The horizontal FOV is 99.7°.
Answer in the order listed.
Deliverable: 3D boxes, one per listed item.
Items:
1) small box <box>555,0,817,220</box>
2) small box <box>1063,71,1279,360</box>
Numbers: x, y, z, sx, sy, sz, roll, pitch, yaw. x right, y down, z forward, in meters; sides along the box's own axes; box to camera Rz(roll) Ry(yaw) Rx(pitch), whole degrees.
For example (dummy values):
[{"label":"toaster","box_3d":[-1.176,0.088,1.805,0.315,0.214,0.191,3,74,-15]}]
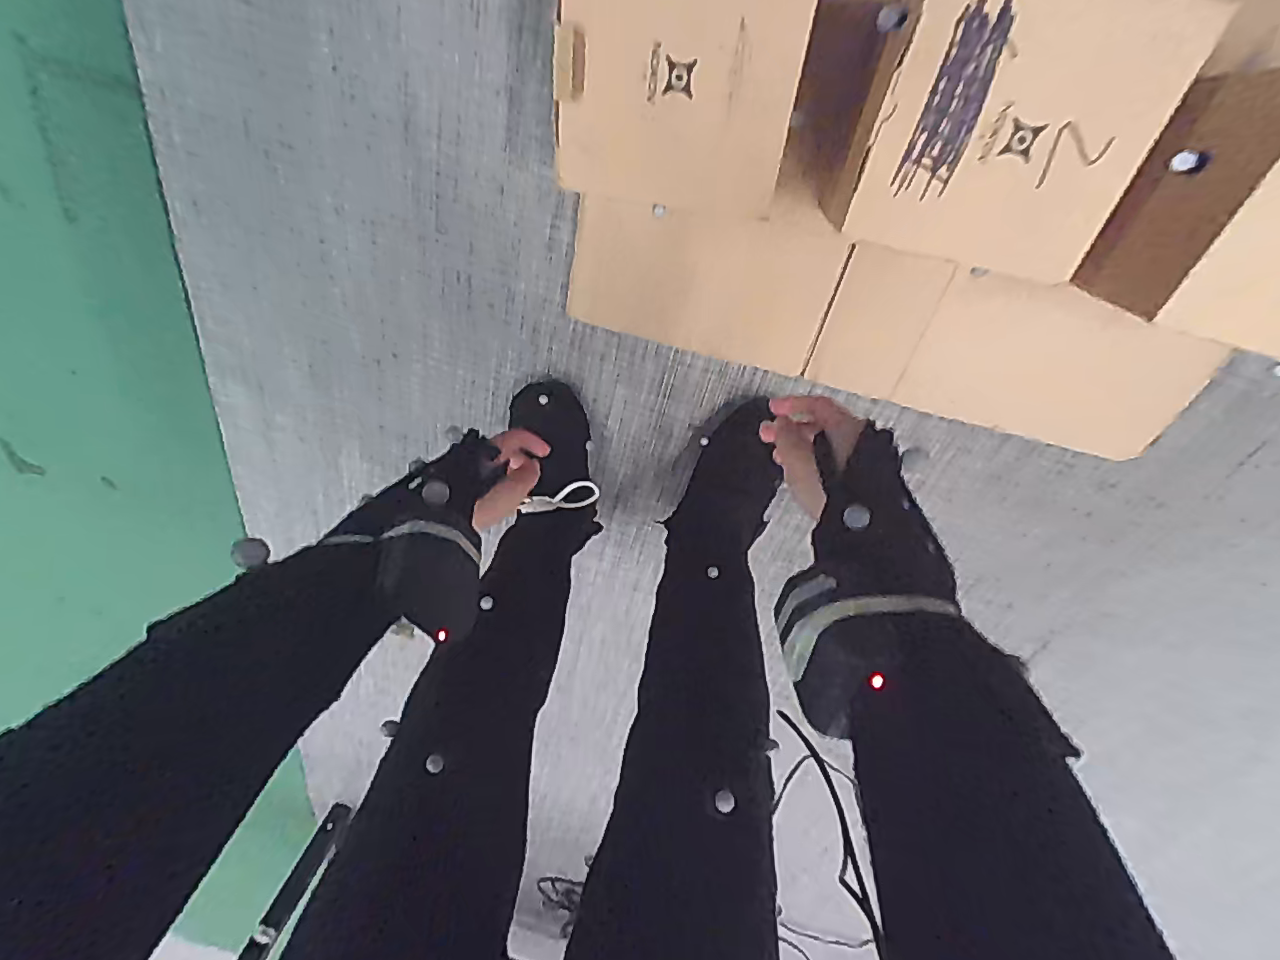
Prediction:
[{"label":"small box","box_3d":[0.039,-0.328,0.449,0.179,0.176,0.168,11,125,5]},{"label":"small box","box_3d":[0.497,-0.201,0.427,0.179,0.176,0.168,17,124,1]}]
